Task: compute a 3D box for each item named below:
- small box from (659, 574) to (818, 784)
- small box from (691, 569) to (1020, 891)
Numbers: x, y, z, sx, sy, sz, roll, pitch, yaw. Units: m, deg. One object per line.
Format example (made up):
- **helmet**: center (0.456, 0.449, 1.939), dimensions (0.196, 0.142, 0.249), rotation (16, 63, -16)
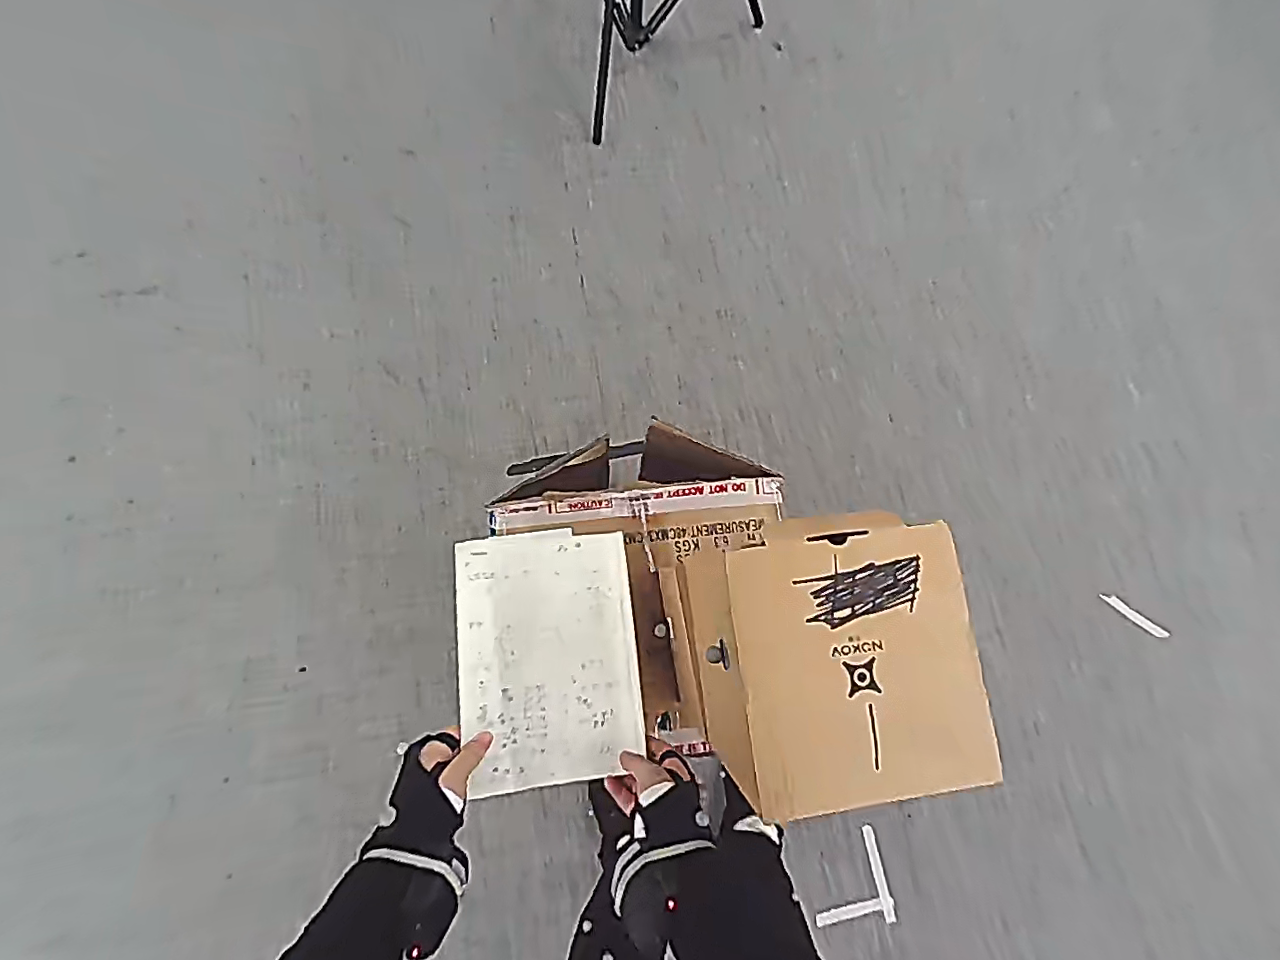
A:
- **small box**: center (0.126, 0.196, 0.585), dimensions (0.179, 0.176, 0.168), rotation (-9, 81, -6)
- **small box**: center (0.142, 0.168, 0.424), dimensions (0.168, 0.176, 0.179), rotation (-6, 81, -6)
